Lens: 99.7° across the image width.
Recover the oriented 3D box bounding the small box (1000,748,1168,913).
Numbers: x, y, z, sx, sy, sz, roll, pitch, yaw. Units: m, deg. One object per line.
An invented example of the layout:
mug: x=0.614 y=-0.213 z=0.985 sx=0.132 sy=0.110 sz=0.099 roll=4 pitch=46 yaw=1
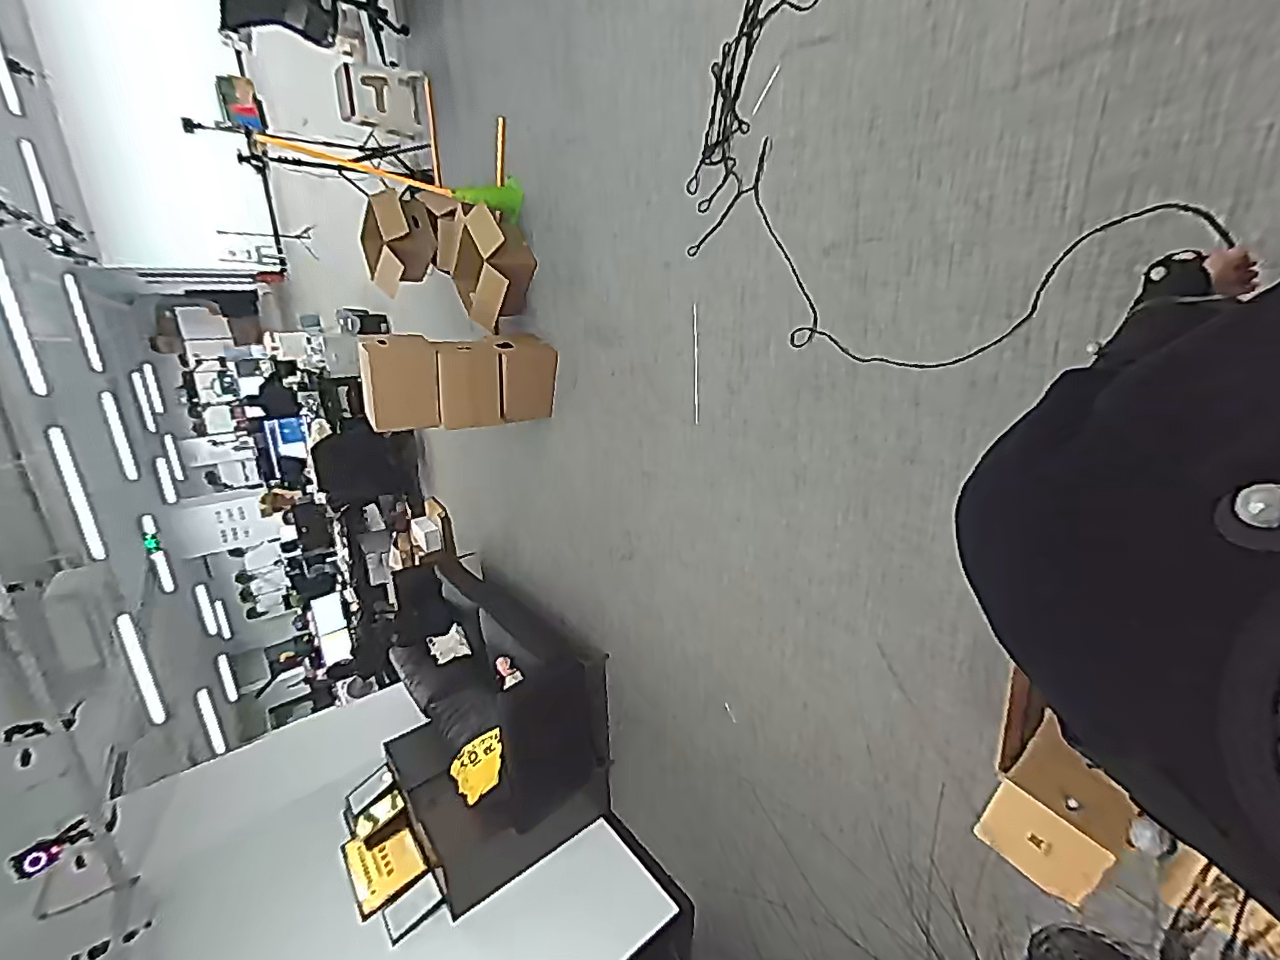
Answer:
small box: x=0.829 y=0.638 z=1.015 sx=0.179 sy=0.176 sz=0.168 roll=32 pitch=125 yaw=44

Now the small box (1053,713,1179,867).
small box: x=0.964 y=0.619 z=1.105 sx=0.168 sy=0.176 sz=0.179 roll=12 pitch=112 yaw=51
